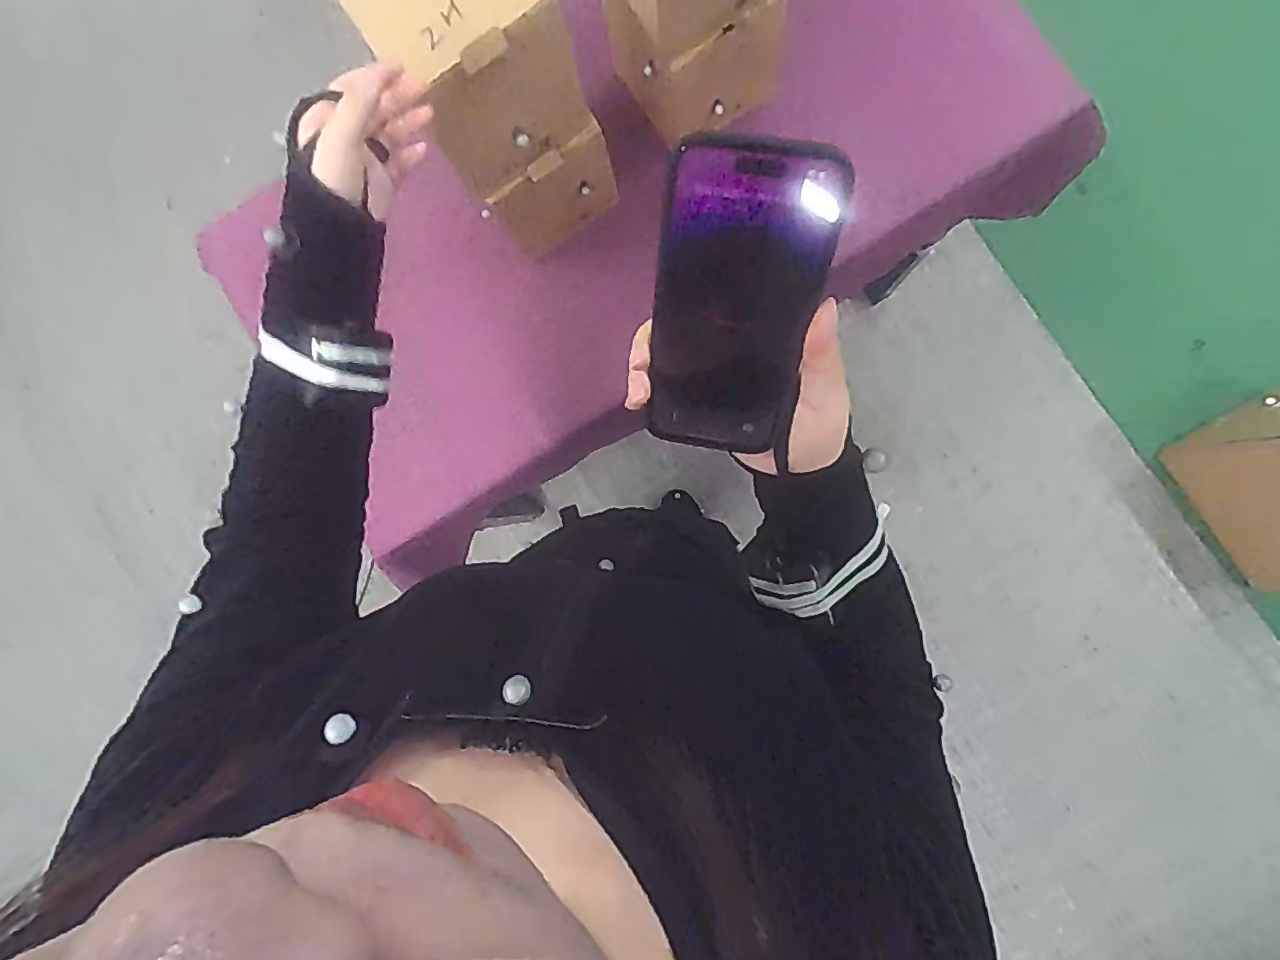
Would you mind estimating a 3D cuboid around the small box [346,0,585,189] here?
[{"bbox_3d":[-0.180,-0.456,0.568,0.168,0.176,0.179,-34,85,4],"label":"small box"}]

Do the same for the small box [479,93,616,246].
[{"bbox_3d":[-0.149,-0.448,0.730,0.168,0.176,0.179,-33,85,4],"label":"small box"}]

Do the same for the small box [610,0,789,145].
[{"bbox_3d":[0.069,-0.598,0.711,0.168,0.176,0.179,-33,86,4],"label":"small box"}]
